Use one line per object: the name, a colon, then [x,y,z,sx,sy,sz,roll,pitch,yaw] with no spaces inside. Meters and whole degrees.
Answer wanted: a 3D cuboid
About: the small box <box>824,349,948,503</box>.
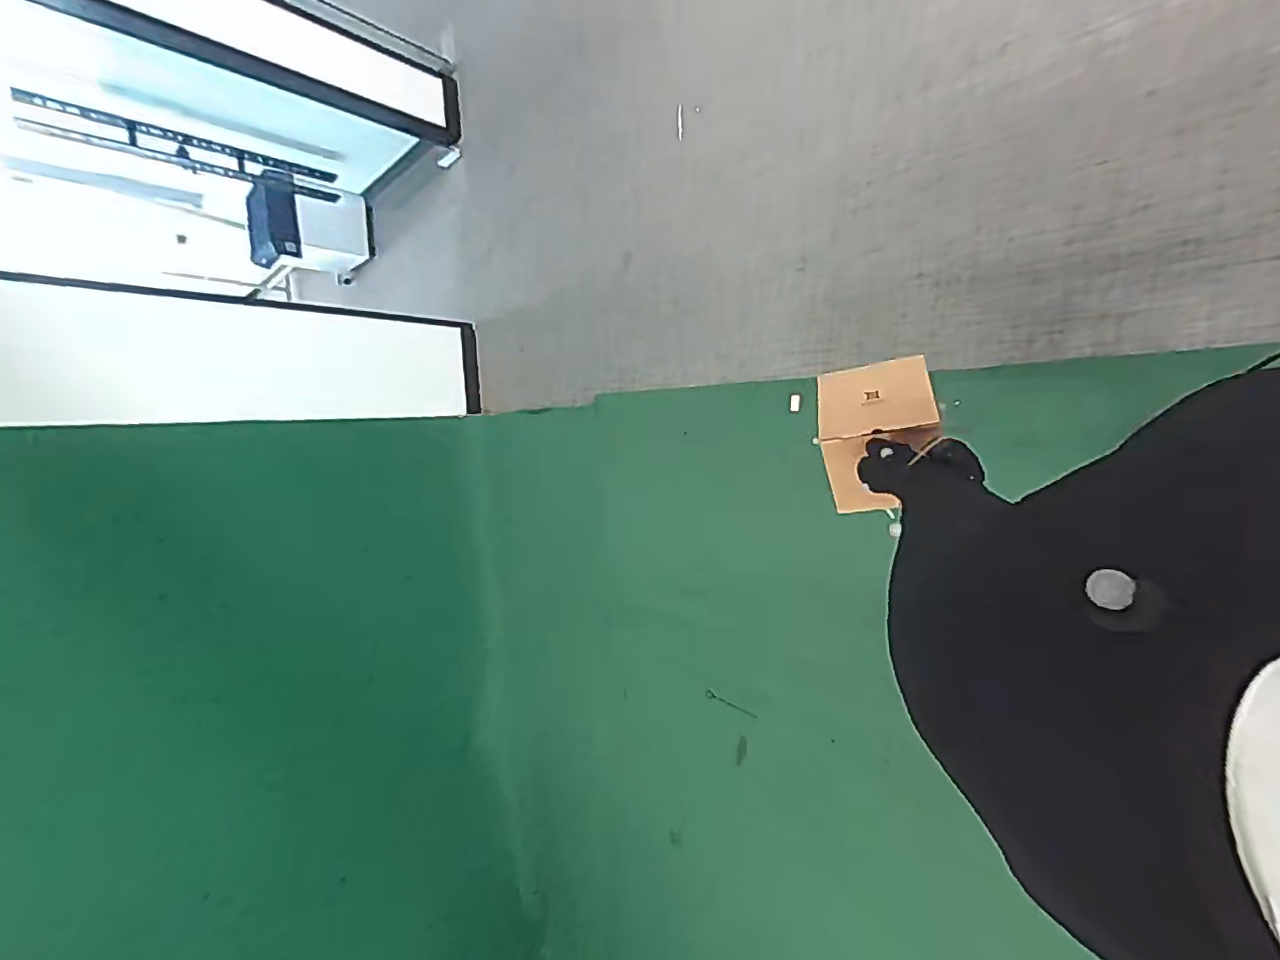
small box: [0.404,-0.086,0.898,0.168,0.179,0.176,-9,133,25]
